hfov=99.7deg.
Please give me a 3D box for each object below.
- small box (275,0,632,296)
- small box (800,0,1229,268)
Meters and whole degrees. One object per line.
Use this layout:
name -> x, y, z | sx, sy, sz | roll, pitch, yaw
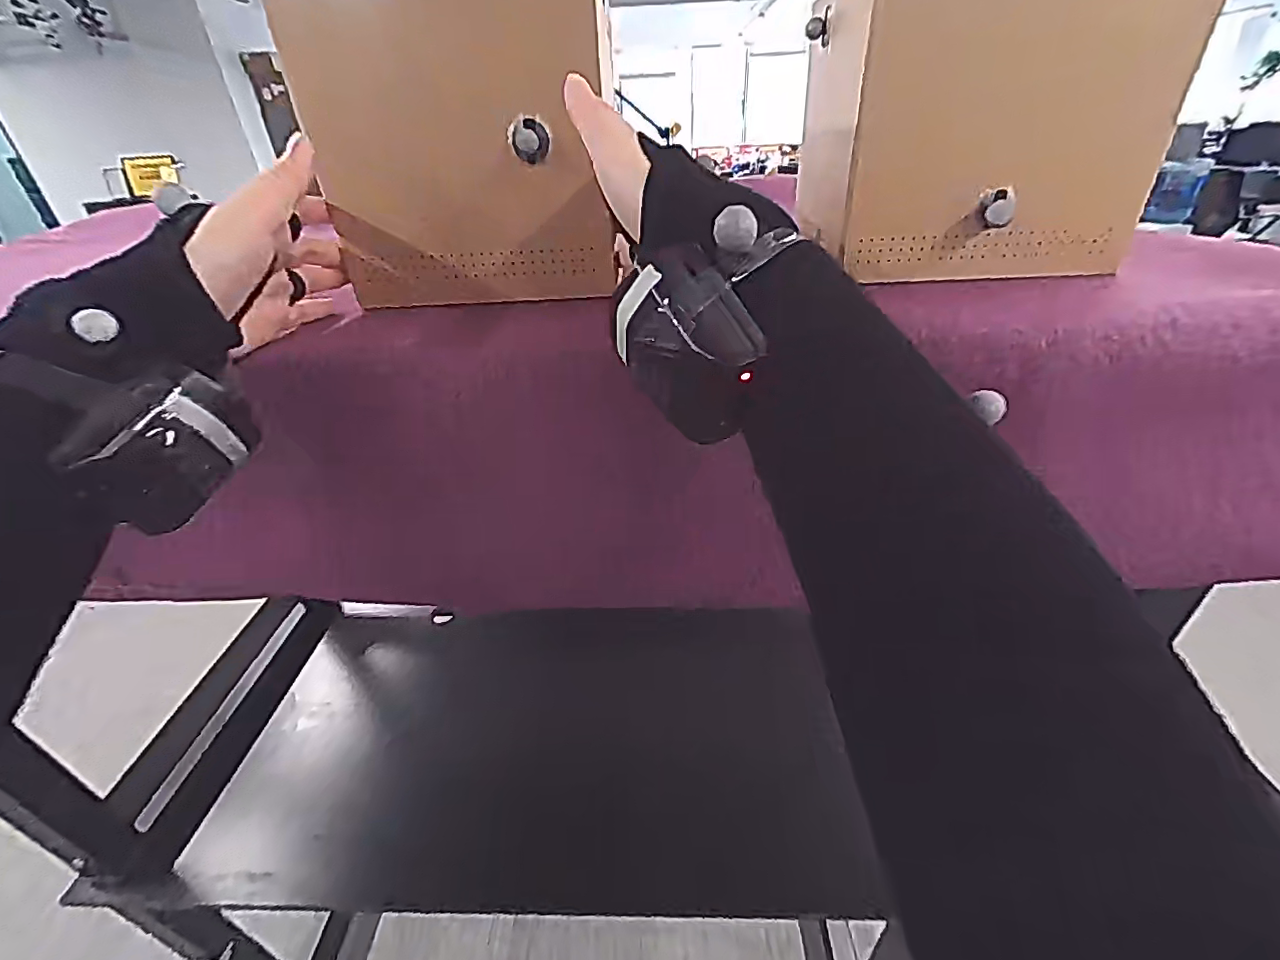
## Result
small box -> -0.097, -0.233, 0.376 | 0.179, 0.176, 0.168 | -2, 31, 3
small box -> 0.218, -0.248, 0.364 | 0.179, 0.176, 0.168 | 0, 32, 5
